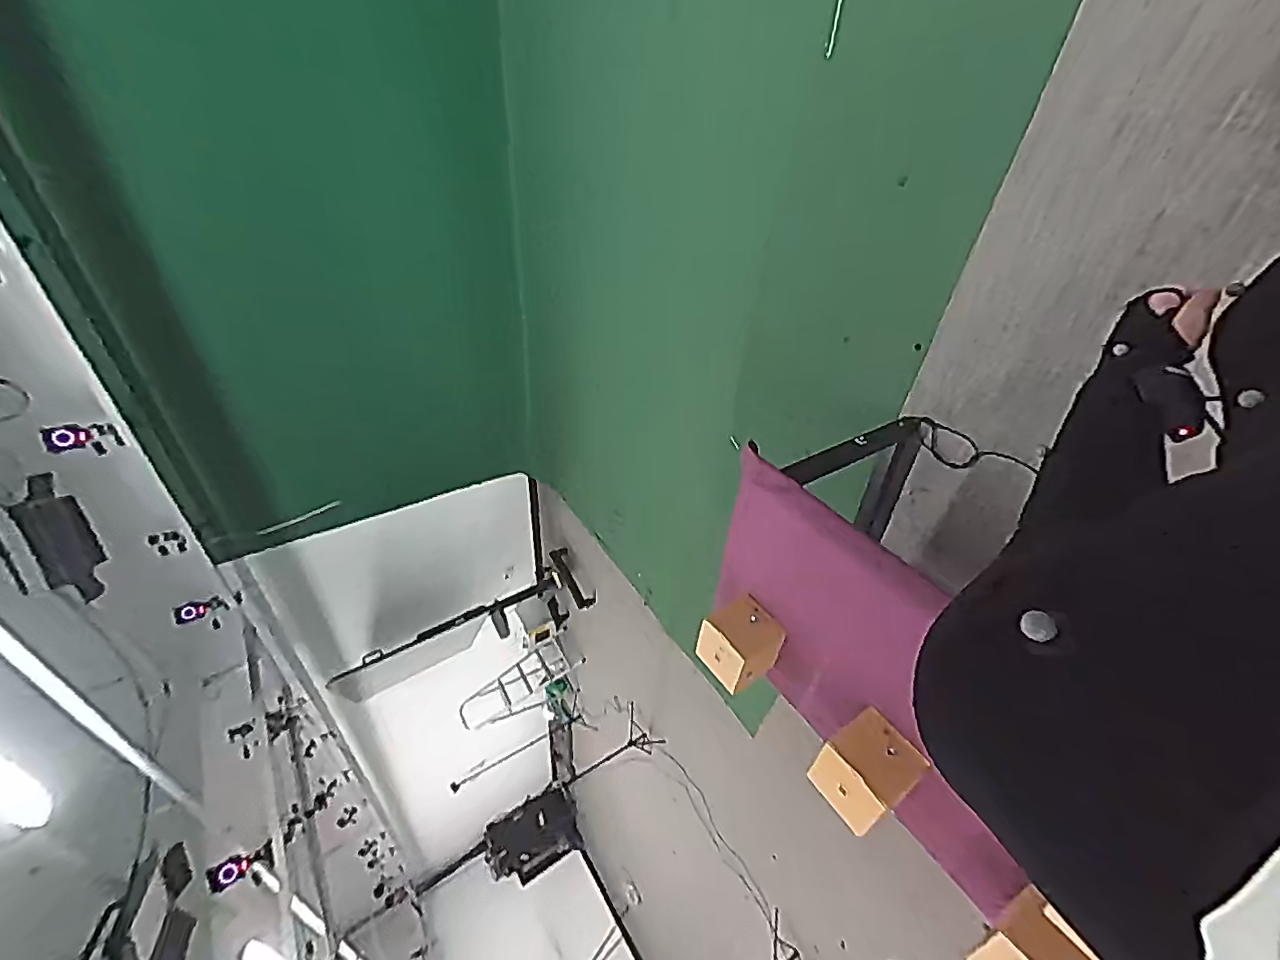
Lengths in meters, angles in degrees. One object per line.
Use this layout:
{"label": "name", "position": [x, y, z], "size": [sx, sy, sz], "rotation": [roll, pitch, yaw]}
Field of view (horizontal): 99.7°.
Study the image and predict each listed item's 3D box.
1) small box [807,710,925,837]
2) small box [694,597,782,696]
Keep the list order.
{"label": "small box", "position": [0.530, 0.683, 1.269], "size": [0.168, 0.176, 0.179], "rotation": [44, 141, 39]}
{"label": "small box", "position": [0.281, 0.473, 1.549], "size": [0.168, 0.176, 0.179], "rotation": [42, 141, 36]}
